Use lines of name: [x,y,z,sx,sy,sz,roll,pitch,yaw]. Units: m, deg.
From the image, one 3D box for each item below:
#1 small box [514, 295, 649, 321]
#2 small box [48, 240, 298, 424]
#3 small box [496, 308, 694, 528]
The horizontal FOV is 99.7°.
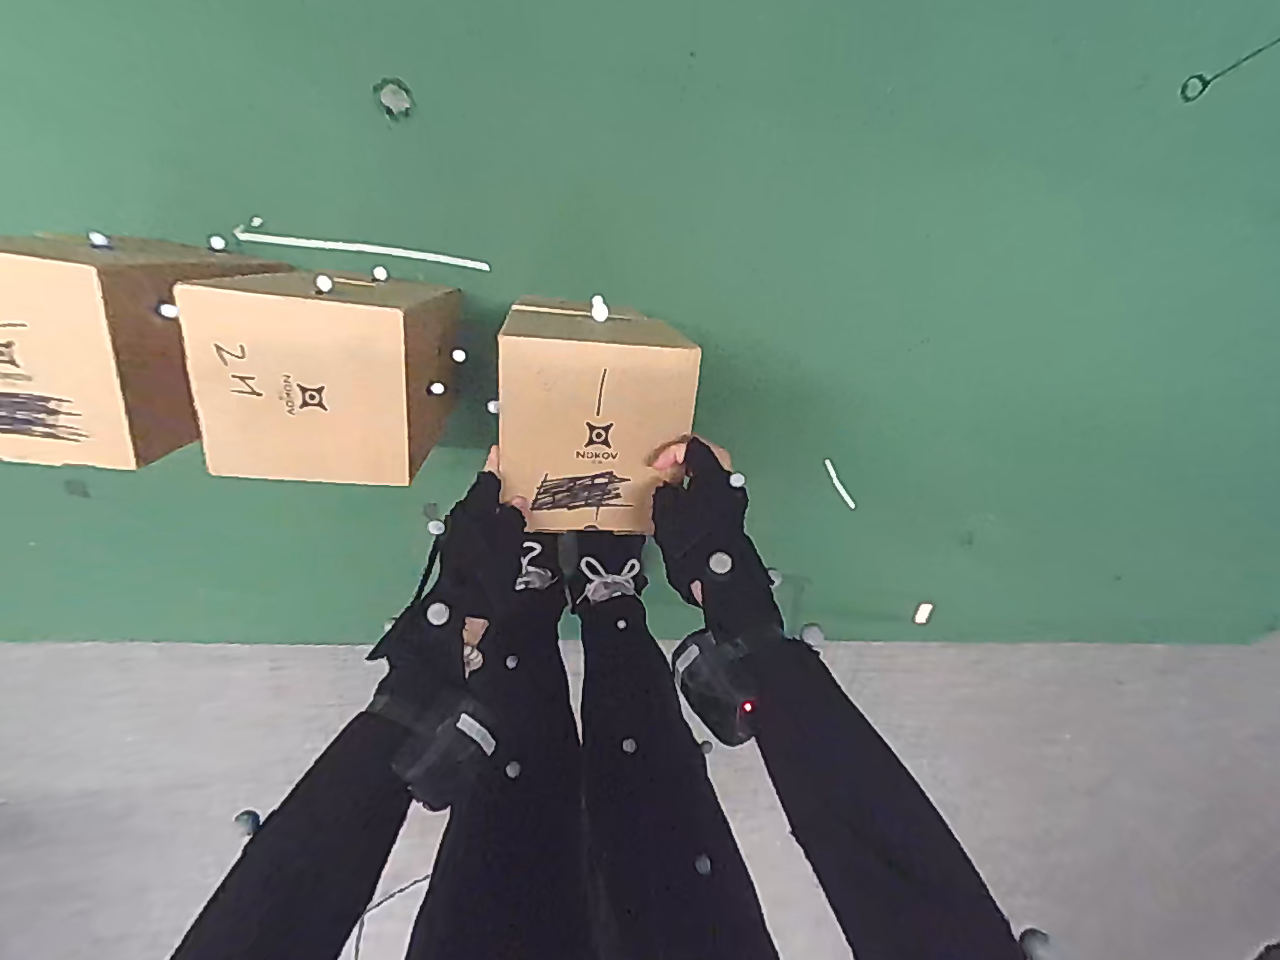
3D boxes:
small box: [-0.089,-0.154,0.748,0.168,0.176,0.179,2,113,-10]
small box: [-0.547,-0.187,0.667,0.168,0.176,0.179,7,112,-11]
small box: [-0.054,-0.068,0.547,0.168,0.176,0.179,1,113,-11]
